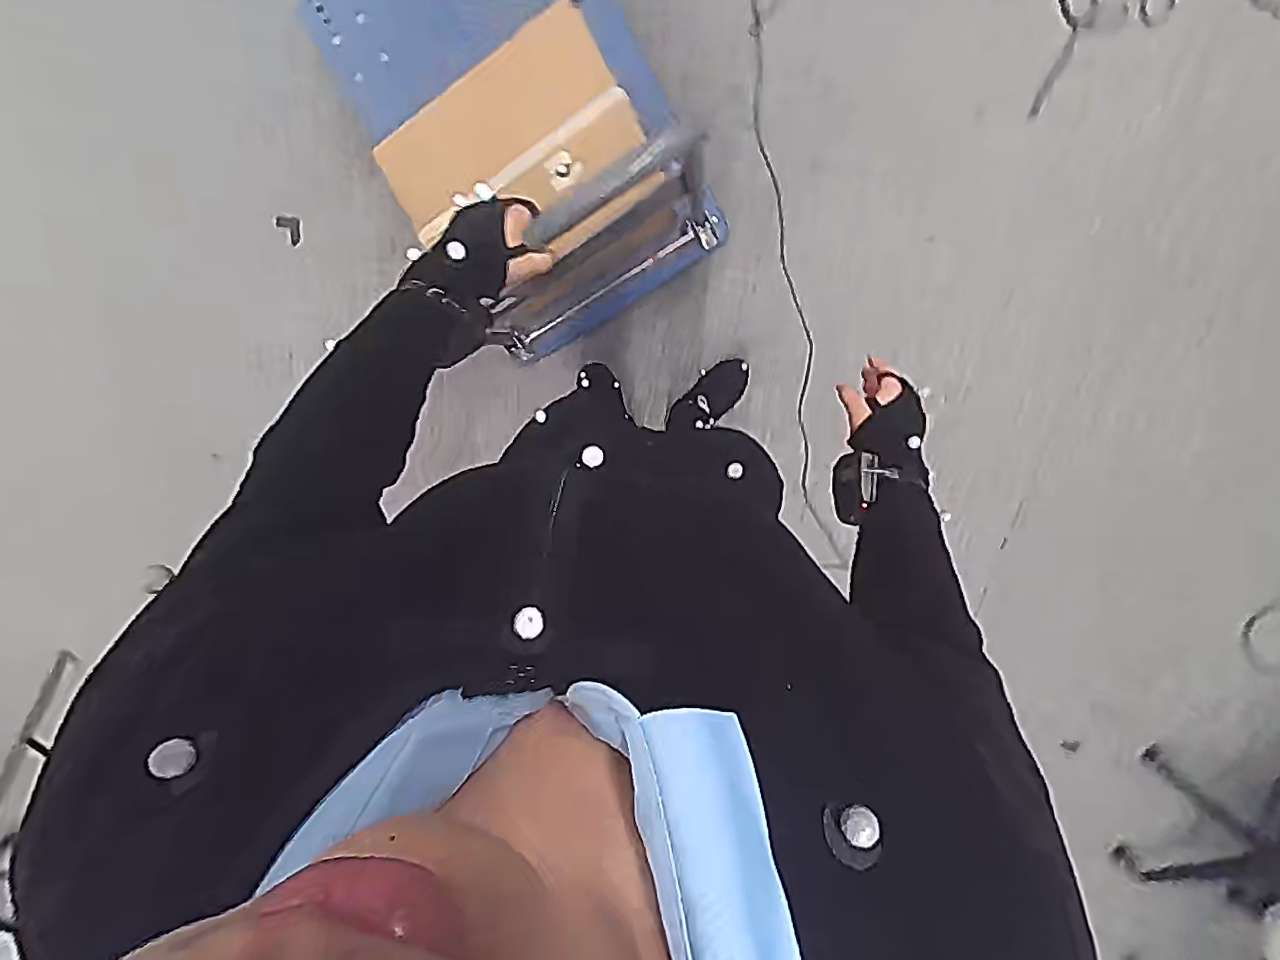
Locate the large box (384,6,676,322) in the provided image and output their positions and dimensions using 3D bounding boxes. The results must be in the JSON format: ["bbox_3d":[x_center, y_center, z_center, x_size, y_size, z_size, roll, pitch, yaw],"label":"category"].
[{"bbox_3d":[-0.179,-0.544,1.038,0.408,0.320,0.320,-28,102,12],"label":"large box"}]
